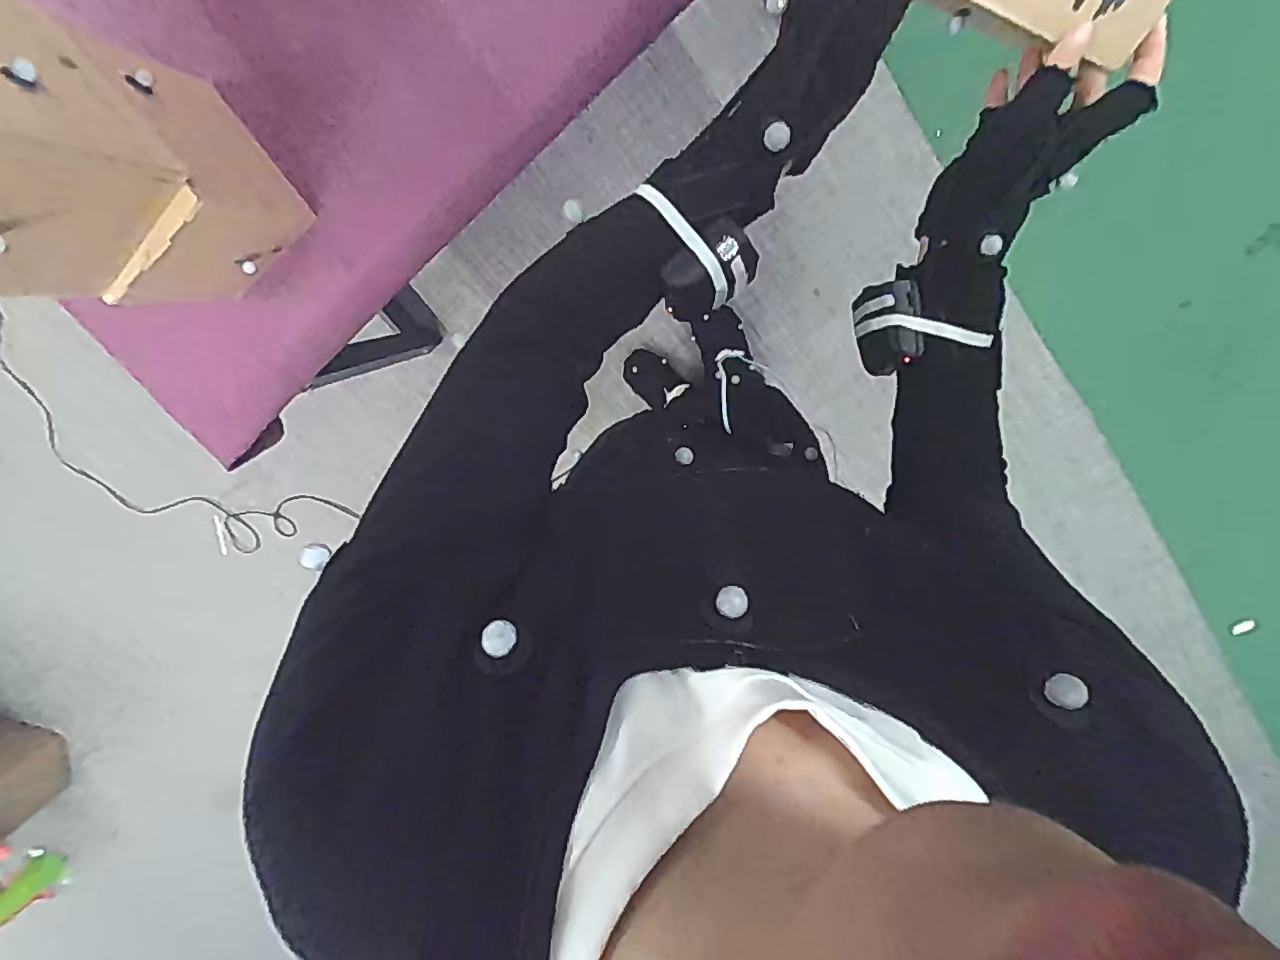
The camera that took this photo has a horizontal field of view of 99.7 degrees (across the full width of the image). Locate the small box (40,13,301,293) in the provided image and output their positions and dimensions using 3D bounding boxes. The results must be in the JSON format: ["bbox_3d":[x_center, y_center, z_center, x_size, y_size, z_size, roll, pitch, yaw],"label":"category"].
[{"bbox_3d":[-0.523,-0.322,0.577,0.168,0.176,0.179,-32,106,16],"label":"small box"}]

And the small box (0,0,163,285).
[{"bbox_3d":[-0.540,-0.274,0.422,0.179,0.176,0.168,-35,104,17],"label":"small box"}]
